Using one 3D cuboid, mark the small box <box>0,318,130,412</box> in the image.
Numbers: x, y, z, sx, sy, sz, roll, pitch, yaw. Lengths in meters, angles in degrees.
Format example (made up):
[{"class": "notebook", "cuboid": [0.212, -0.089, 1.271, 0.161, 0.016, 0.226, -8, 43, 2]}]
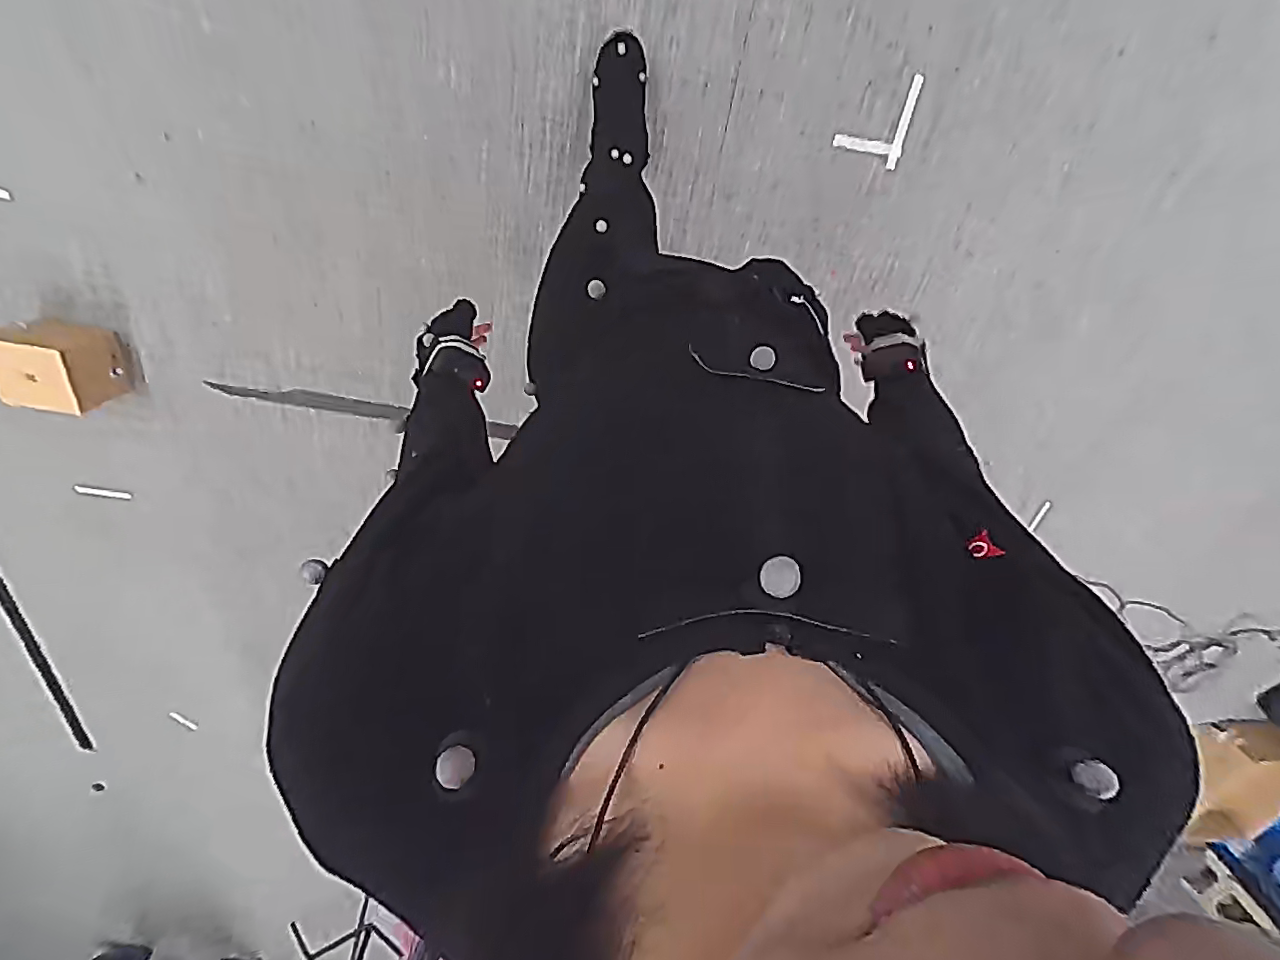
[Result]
[{"class": "small box", "cuboid": [-1.417, -0.285, 1.315, 0.179, 0.176, 0.168, 8, 121, -8]}]
